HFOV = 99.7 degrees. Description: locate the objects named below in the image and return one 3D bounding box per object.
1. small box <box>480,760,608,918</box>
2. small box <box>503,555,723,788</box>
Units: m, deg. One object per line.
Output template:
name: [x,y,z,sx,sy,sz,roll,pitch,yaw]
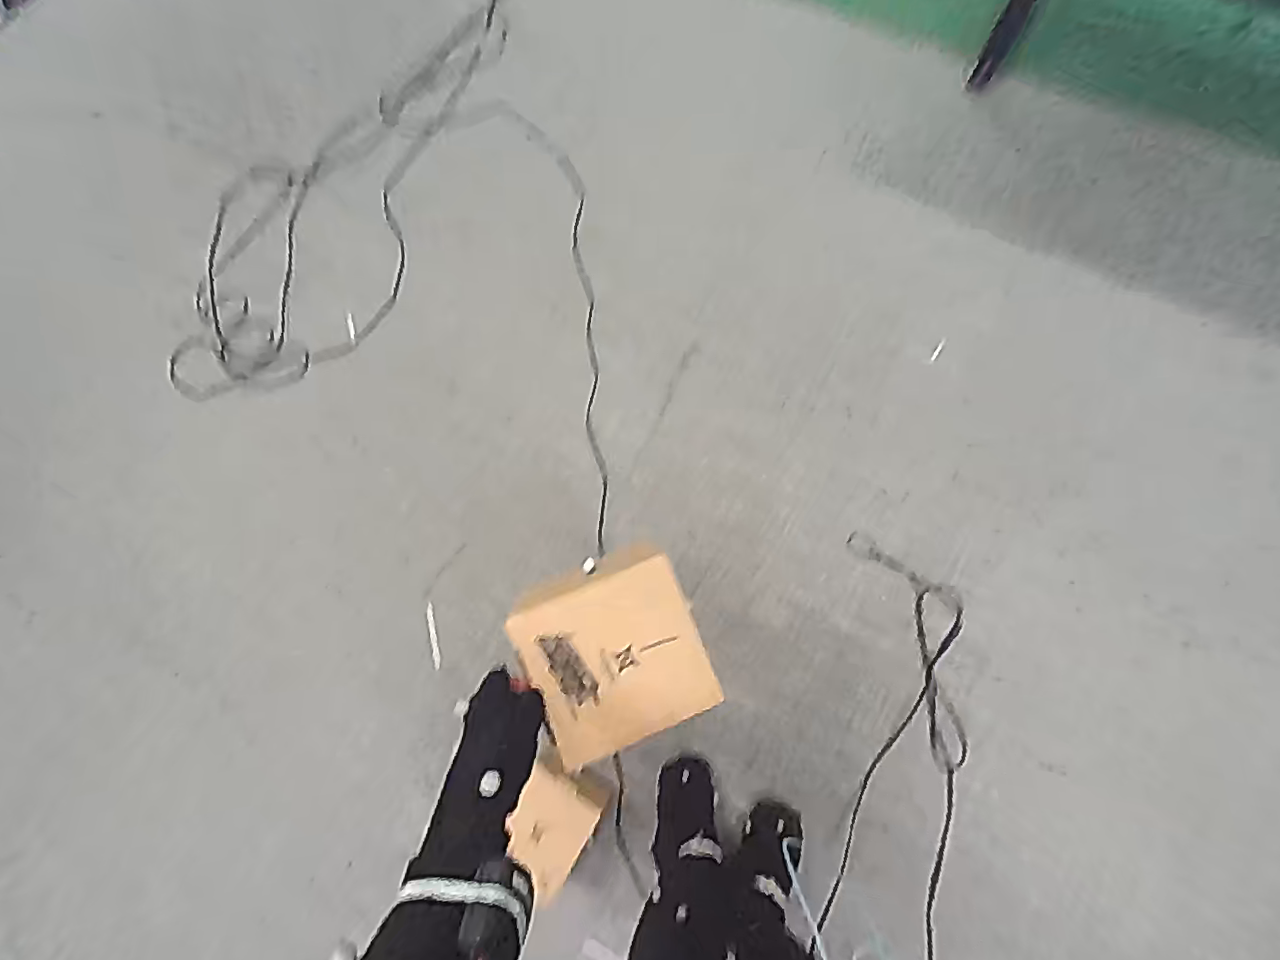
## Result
small box: [-0.176,0.684,1.059,0.168,0.176,0.179,32,76,12]
small box: [-0.031,0.198,0.615,0.179,0.176,0.168,-24,91,-6]
